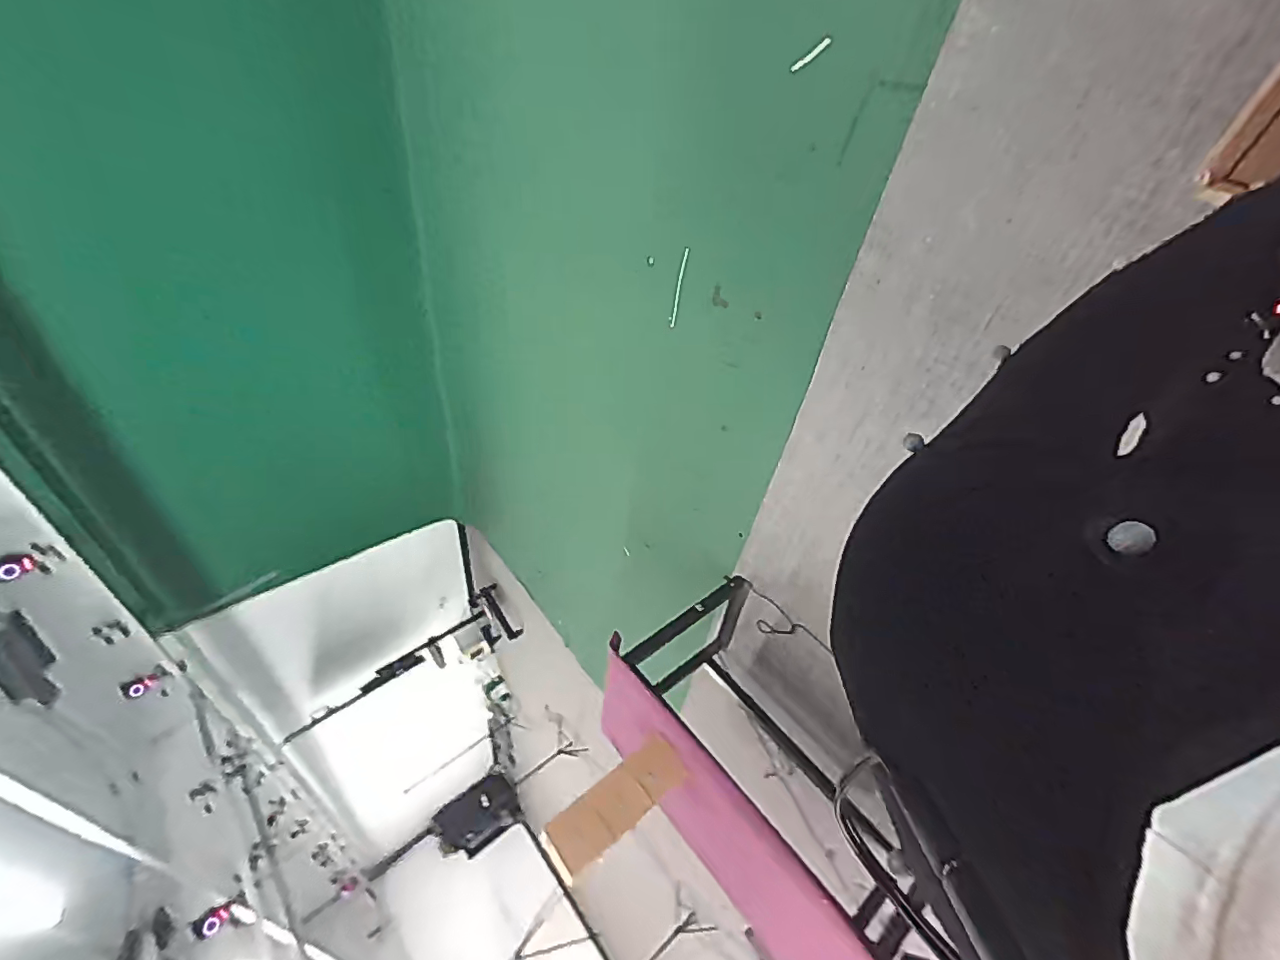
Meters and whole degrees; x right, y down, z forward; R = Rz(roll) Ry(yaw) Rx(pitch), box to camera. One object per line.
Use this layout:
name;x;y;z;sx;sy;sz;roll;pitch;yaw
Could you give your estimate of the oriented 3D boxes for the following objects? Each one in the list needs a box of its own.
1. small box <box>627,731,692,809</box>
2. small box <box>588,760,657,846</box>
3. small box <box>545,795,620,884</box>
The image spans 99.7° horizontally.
small box;0.058;1.045;1.946;0.179;0.176;0.168;48;144;23
small box;-0.065;1.105;1.857;0.179;0.176;0.168;45;142;25
small box;-0.191;1.168;1.771;0.179;0.176;0.168;45;143;26
